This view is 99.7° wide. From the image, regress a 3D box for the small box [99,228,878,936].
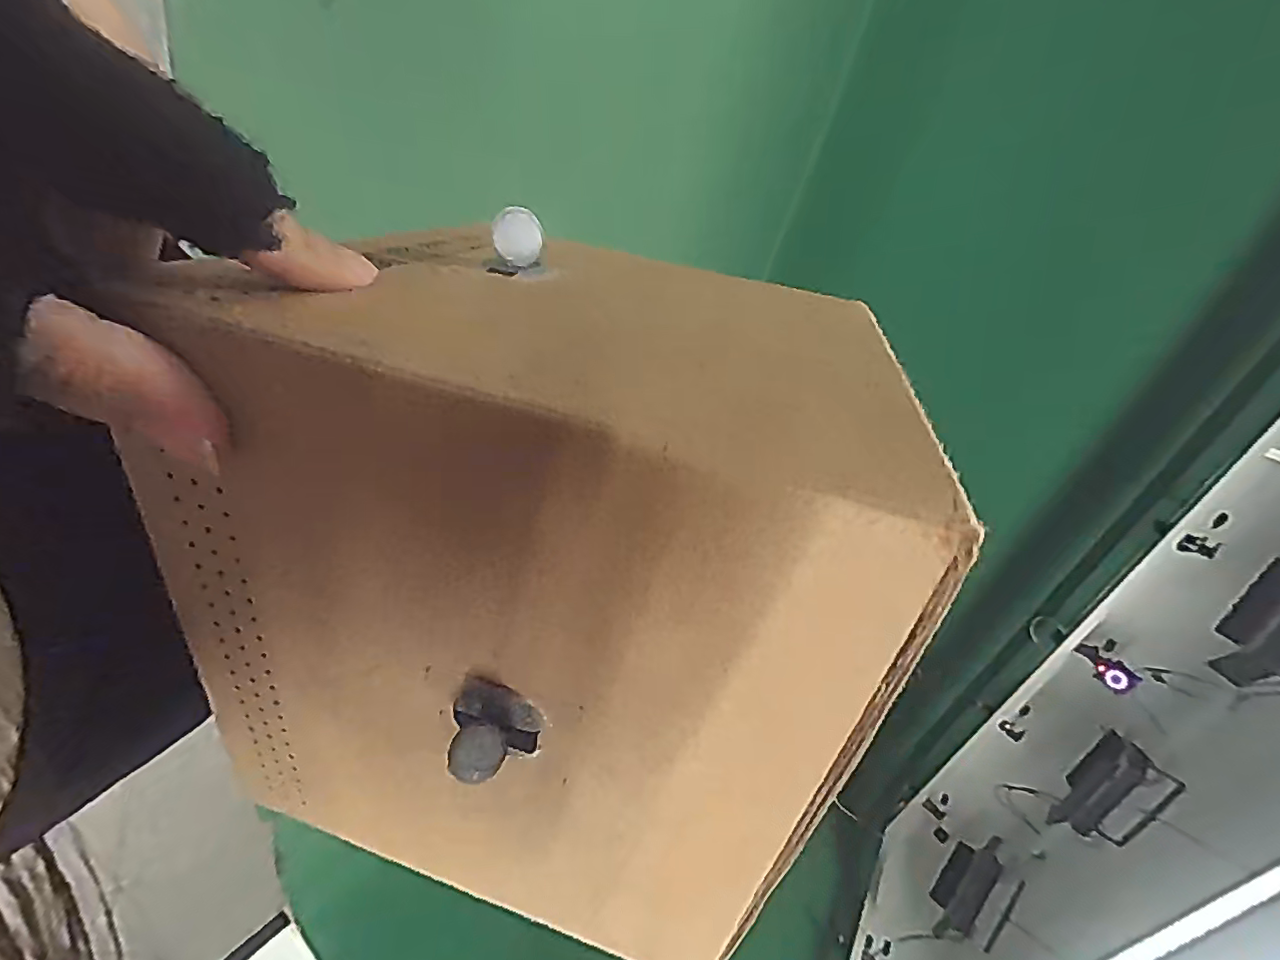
[{"bbox_3d":[-0.034,0.016,0.209,0.168,0.176,0.179,-62,165,-59],"label":"small box"}]
